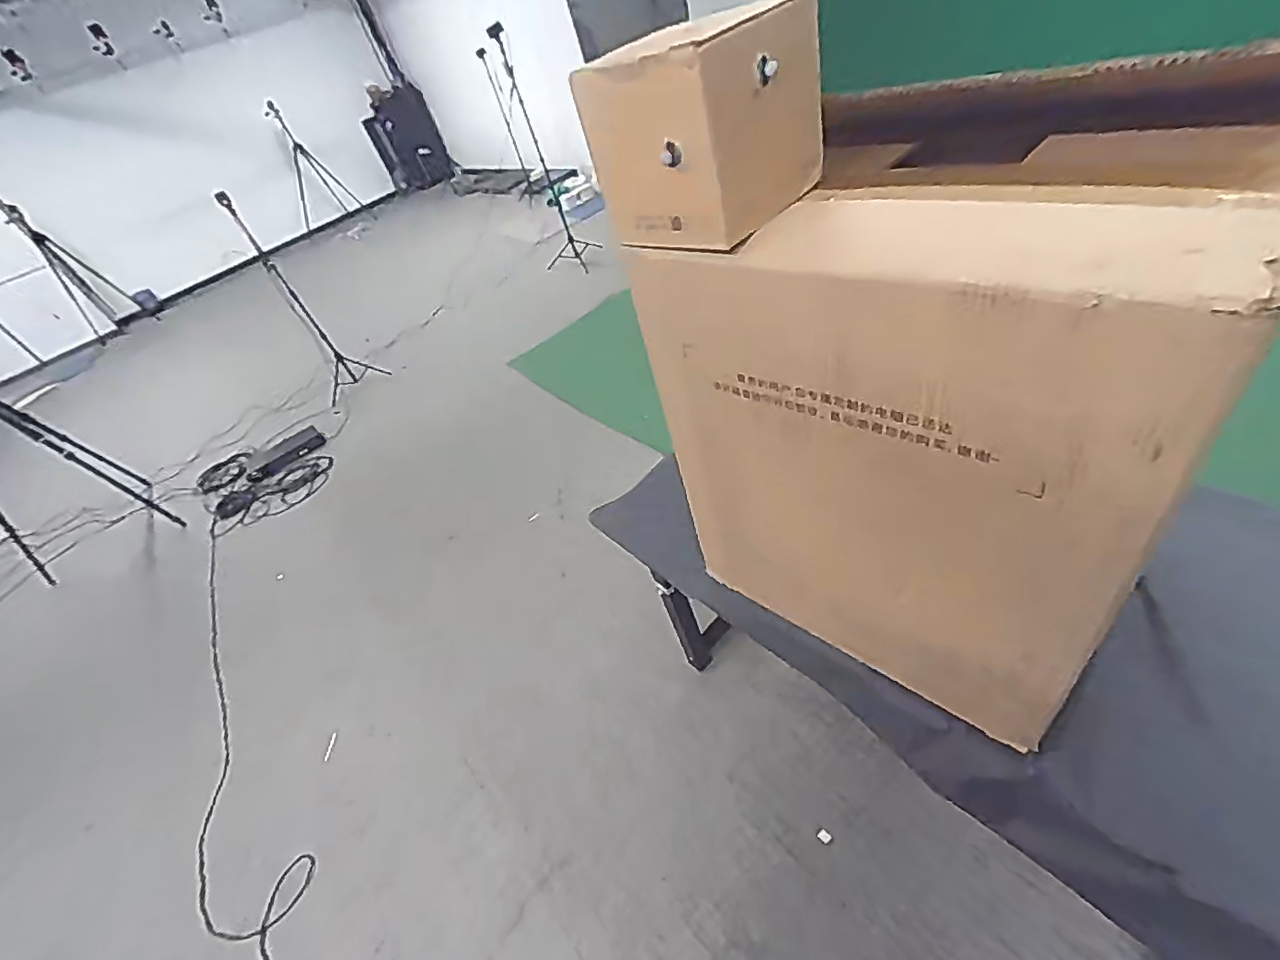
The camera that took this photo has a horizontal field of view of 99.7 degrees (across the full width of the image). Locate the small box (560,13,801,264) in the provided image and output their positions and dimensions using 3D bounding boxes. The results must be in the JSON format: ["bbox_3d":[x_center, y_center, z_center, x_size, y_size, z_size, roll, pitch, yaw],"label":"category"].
[{"bbox_3d":[0.054,-0.344,0.567,0.168,0.176,0.179,26,58,40],"label":"small box"}]
